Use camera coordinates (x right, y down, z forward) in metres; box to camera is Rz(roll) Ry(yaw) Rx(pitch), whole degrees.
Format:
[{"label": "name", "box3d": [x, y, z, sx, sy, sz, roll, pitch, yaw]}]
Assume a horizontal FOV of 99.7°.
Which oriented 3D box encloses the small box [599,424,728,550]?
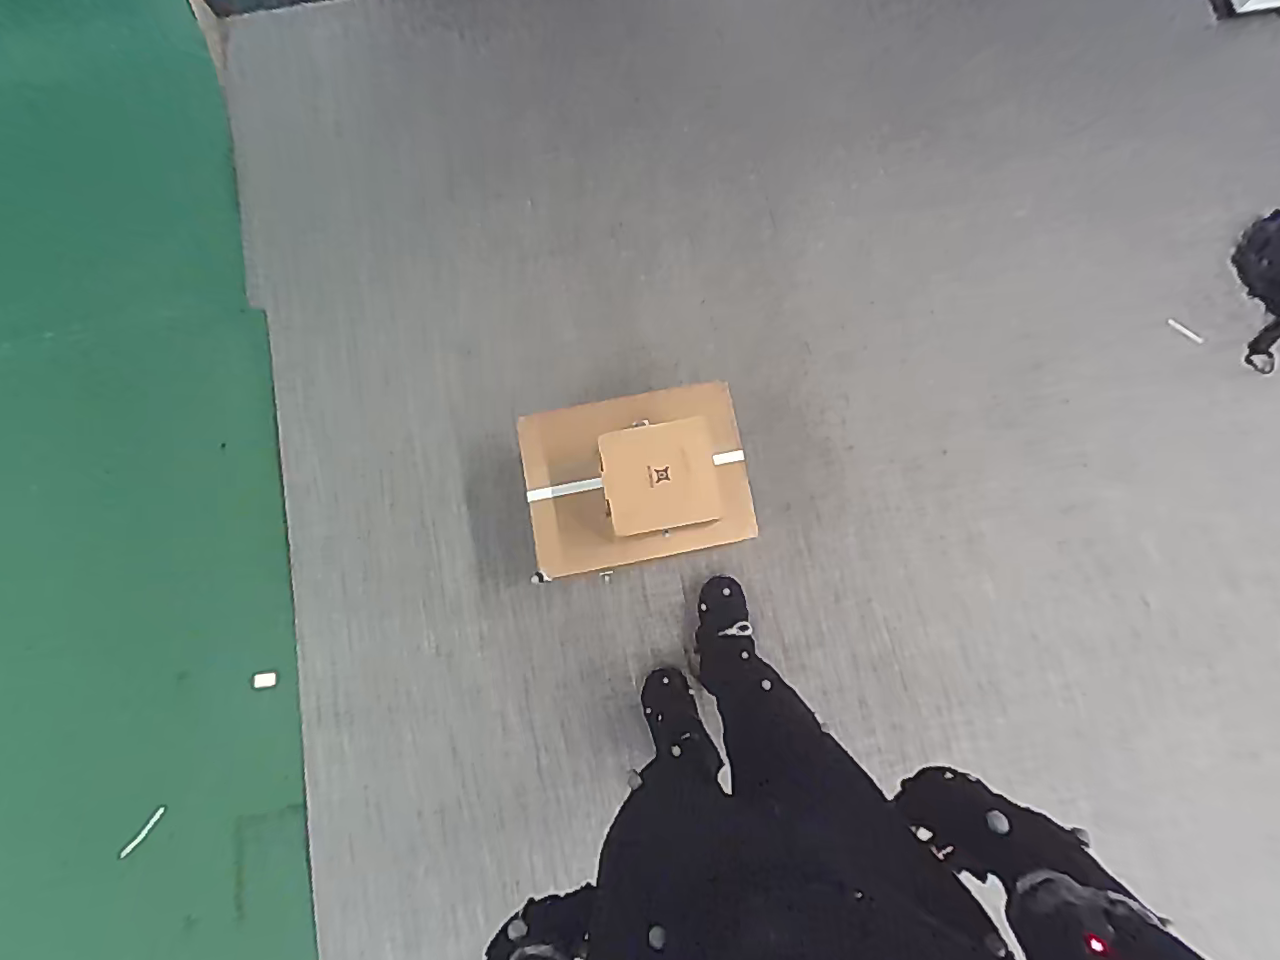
[{"label": "small box", "box3d": [0.035, 0.020, 0.909, 0.179, 0.176, 0.168, -12, 81, -3]}]
